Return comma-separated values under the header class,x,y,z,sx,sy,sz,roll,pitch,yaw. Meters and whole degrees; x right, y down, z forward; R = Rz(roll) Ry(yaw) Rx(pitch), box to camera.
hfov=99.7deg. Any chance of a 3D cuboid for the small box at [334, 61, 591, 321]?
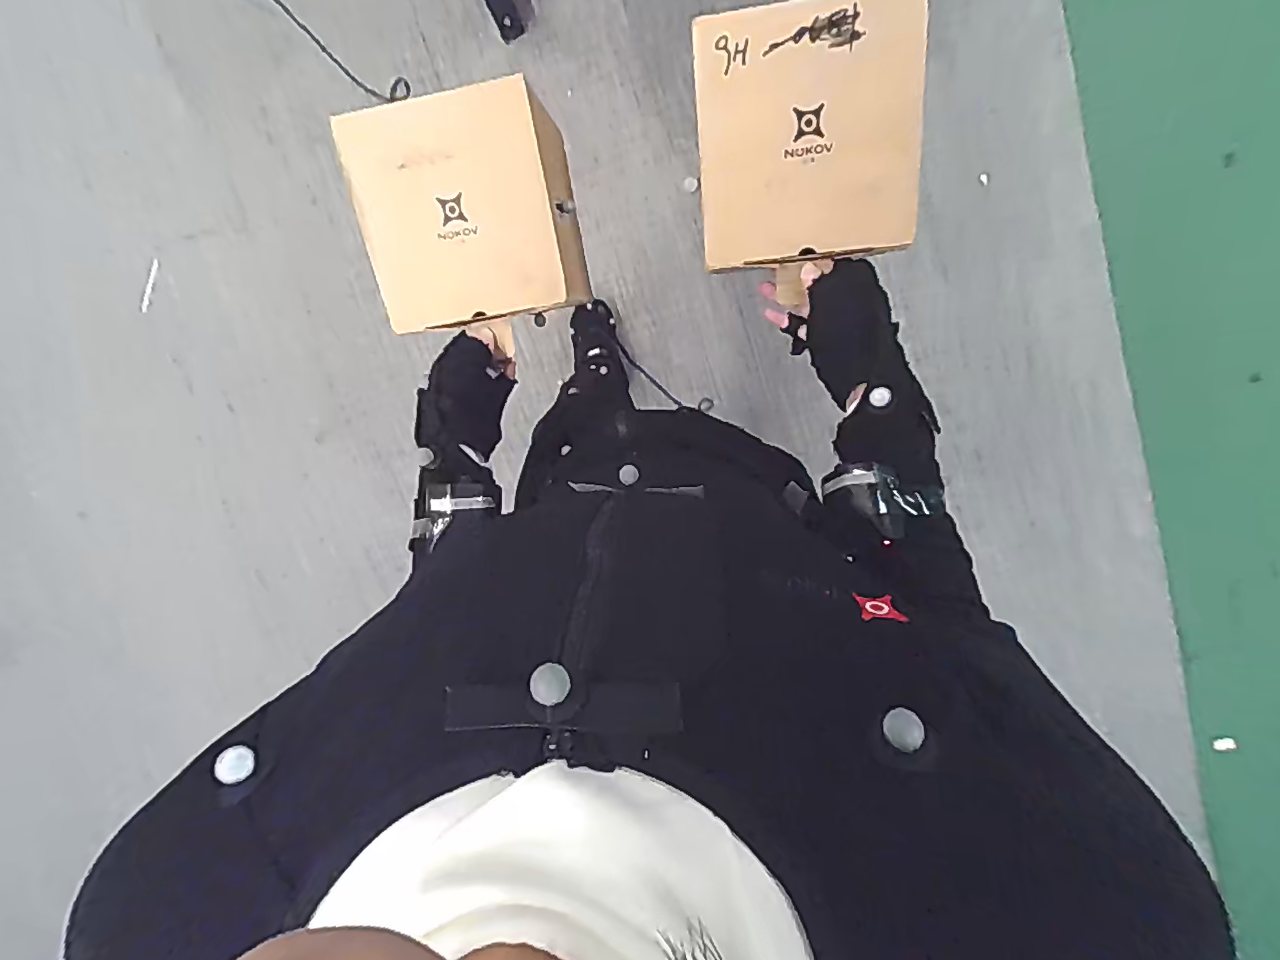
class,x,y,z,sx,sy,sz,roll,pitch,yaw
small box,-0.151,-0.262,0.532,0.168,0.176,0.179,-9,107,5
